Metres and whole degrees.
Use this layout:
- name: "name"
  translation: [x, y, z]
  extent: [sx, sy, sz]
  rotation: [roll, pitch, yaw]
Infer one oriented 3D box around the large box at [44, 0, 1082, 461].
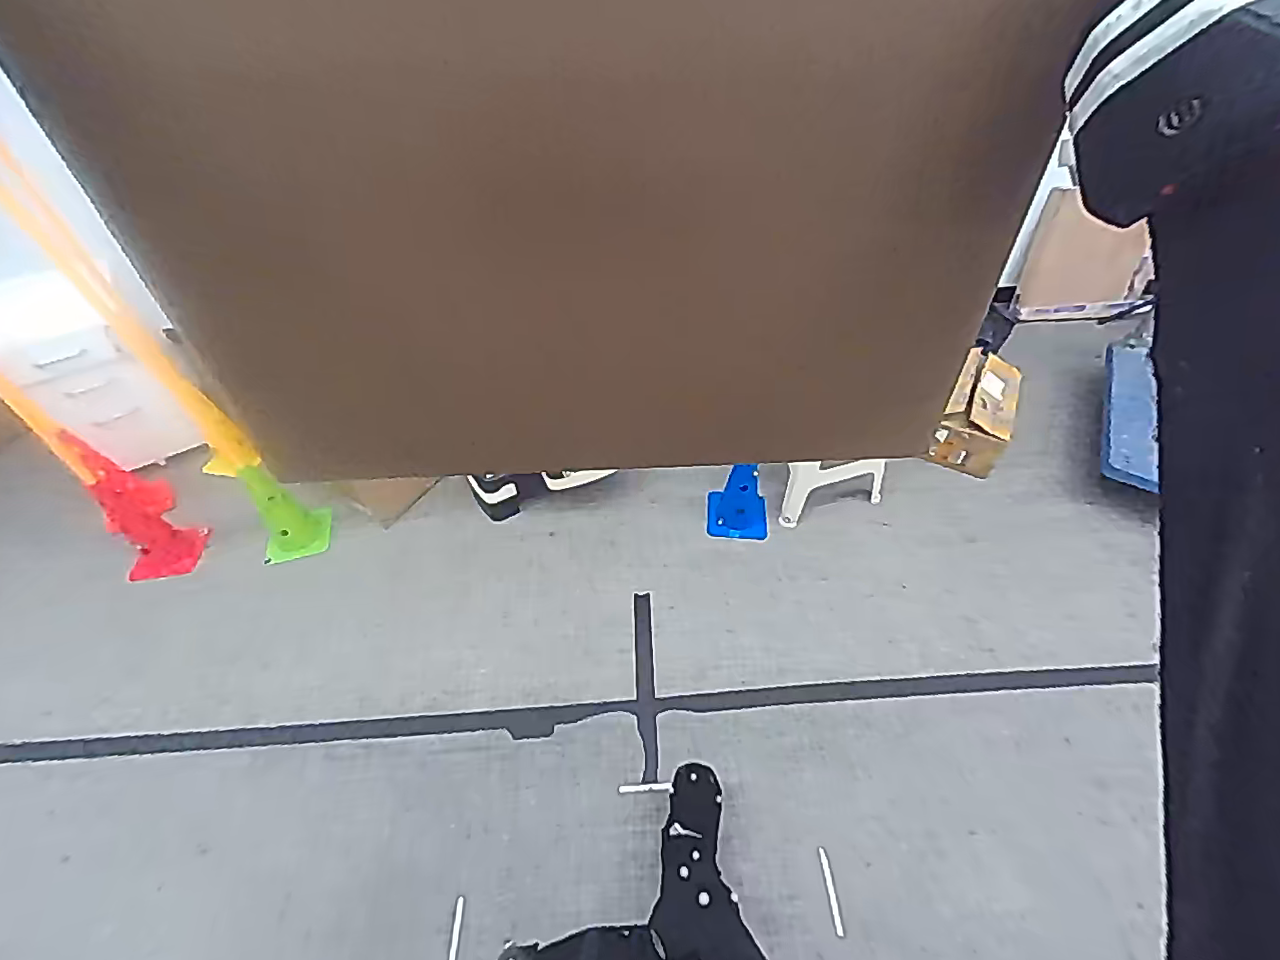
- name: "large box"
  translation: [-0.029, -0.228, 0.359]
  extent: [0.408, 0.320, 0.320]
  rotation: [-2, 42, -1]
